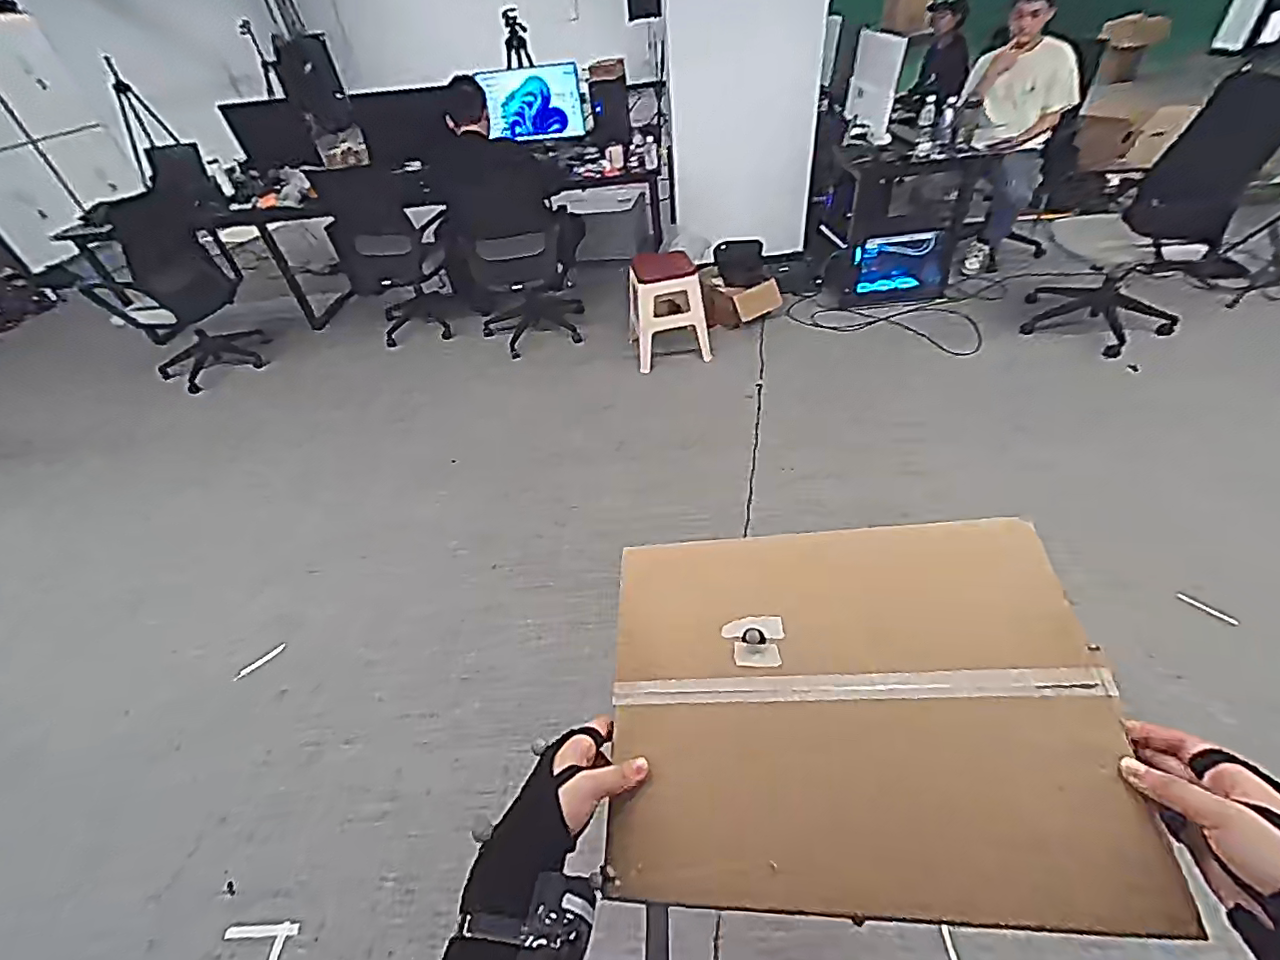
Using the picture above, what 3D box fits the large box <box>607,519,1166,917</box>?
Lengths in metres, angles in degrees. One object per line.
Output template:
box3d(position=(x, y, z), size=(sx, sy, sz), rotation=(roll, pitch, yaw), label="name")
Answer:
box3d(position=(0.206, 0.271, 0.605), size=(0.408, 0.320, 0.320), rotation=(-7, 53, 13), label="large box")
